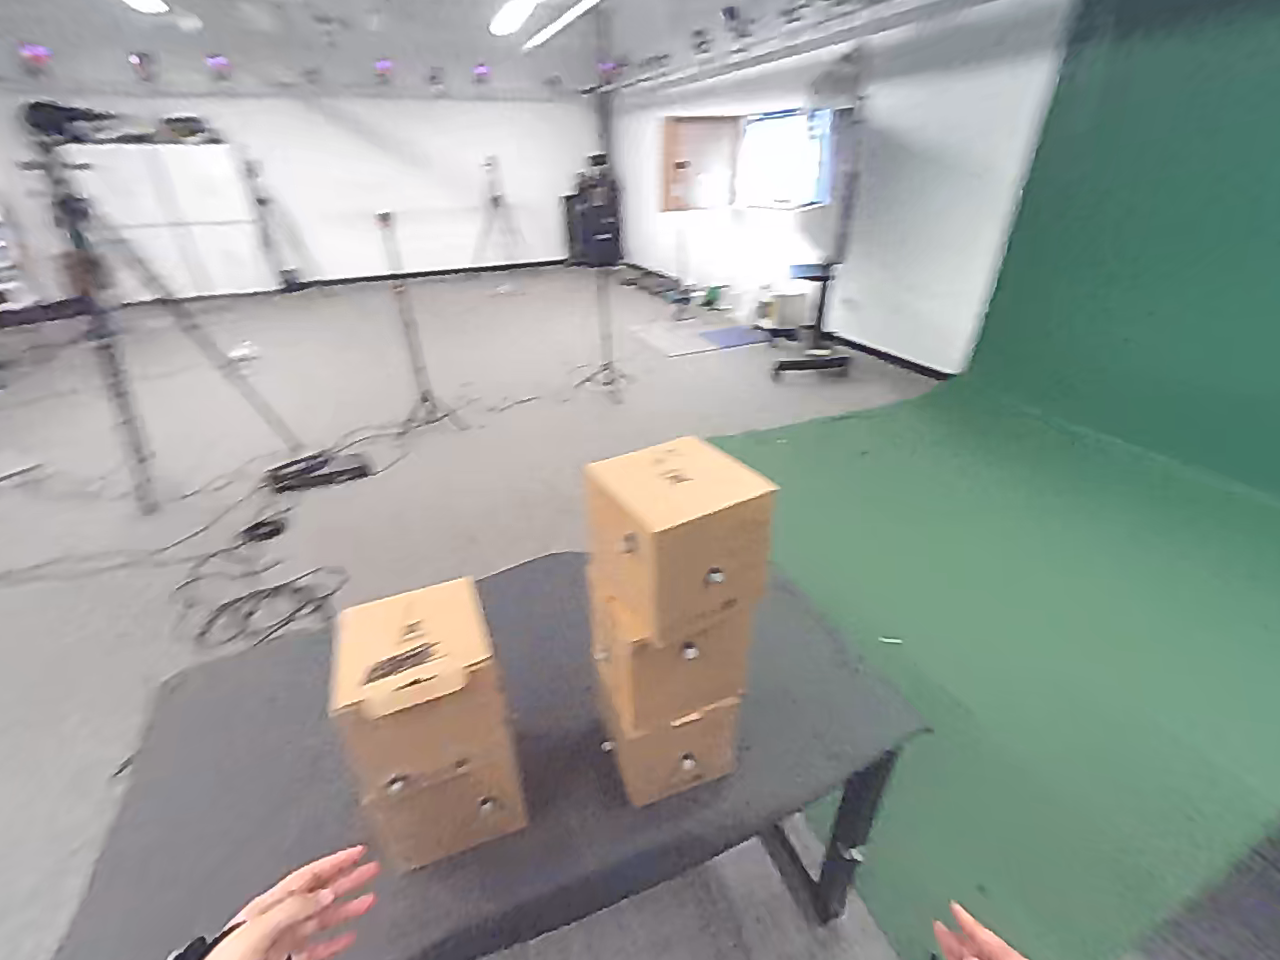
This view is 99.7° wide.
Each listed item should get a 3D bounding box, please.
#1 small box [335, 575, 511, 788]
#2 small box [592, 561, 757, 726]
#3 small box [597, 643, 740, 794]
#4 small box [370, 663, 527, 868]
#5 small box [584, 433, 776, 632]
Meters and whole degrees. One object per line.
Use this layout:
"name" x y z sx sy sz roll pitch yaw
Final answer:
"small box" -0.272 0.257 0.694 0.168 0.176 0.179 -13 29 -20
"small box" 0.042 0.206 0.760 0.179 0.176 0.168 -13 31 -17
"small box" 0.041 0.349 0.836 0.168 0.176 0.179 -12 31 -16
"small box" -0.265 0.401 0.772 0.179 0.176 0.168 -13 30 -16
"small box" 0.046 0.064 0.674 0.168 0.176 0.179 -18 32 -24
